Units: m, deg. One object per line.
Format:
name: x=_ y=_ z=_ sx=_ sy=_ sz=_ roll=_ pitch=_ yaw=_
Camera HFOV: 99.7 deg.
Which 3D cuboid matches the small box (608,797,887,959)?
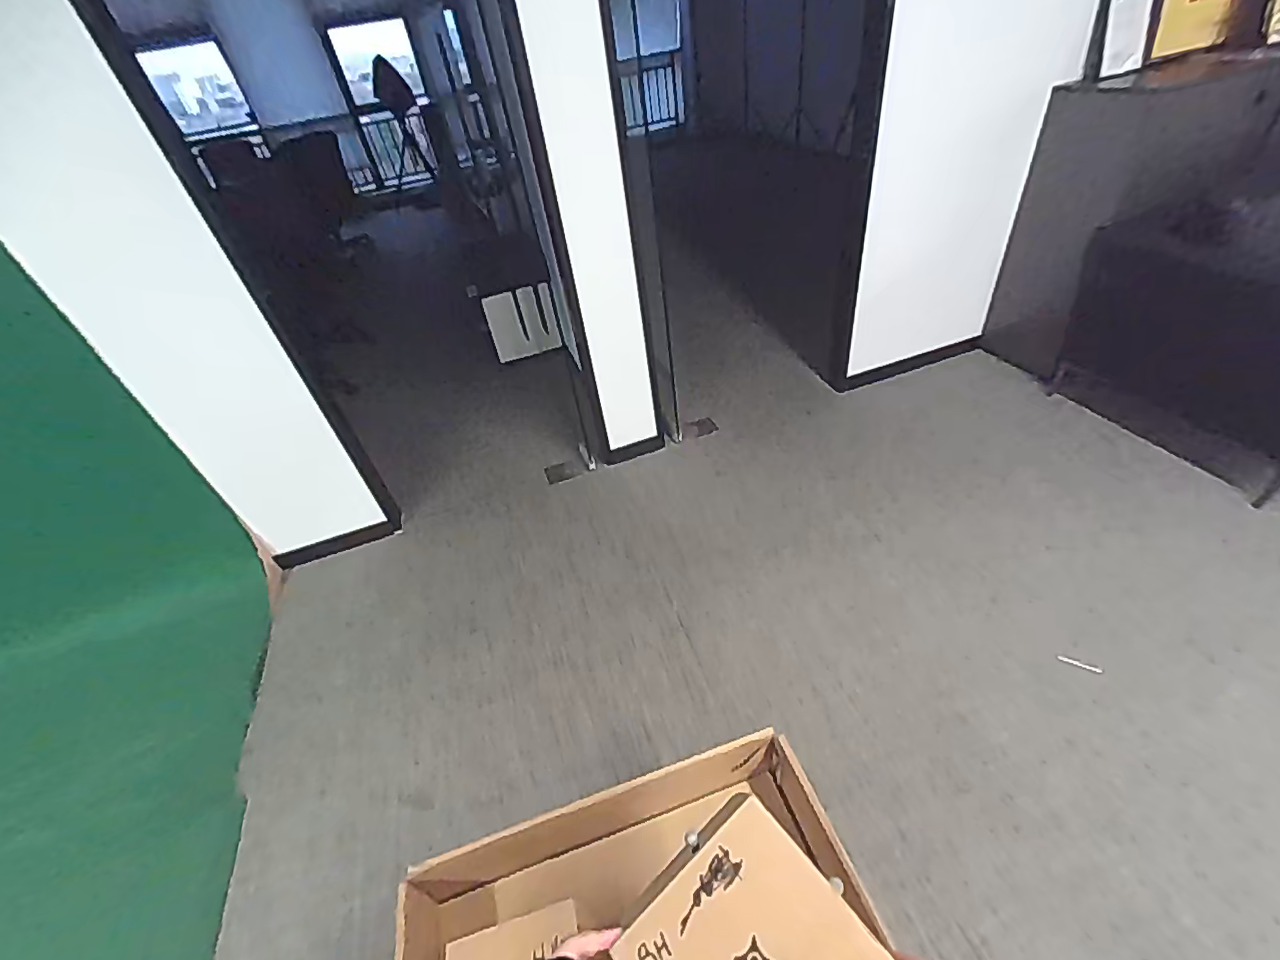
small box: x=0.097 y=0.411 z=0.479 sx=0.168 sy=0.176 sz=0.179 roll=-40 pitch=64 yaw=-15
